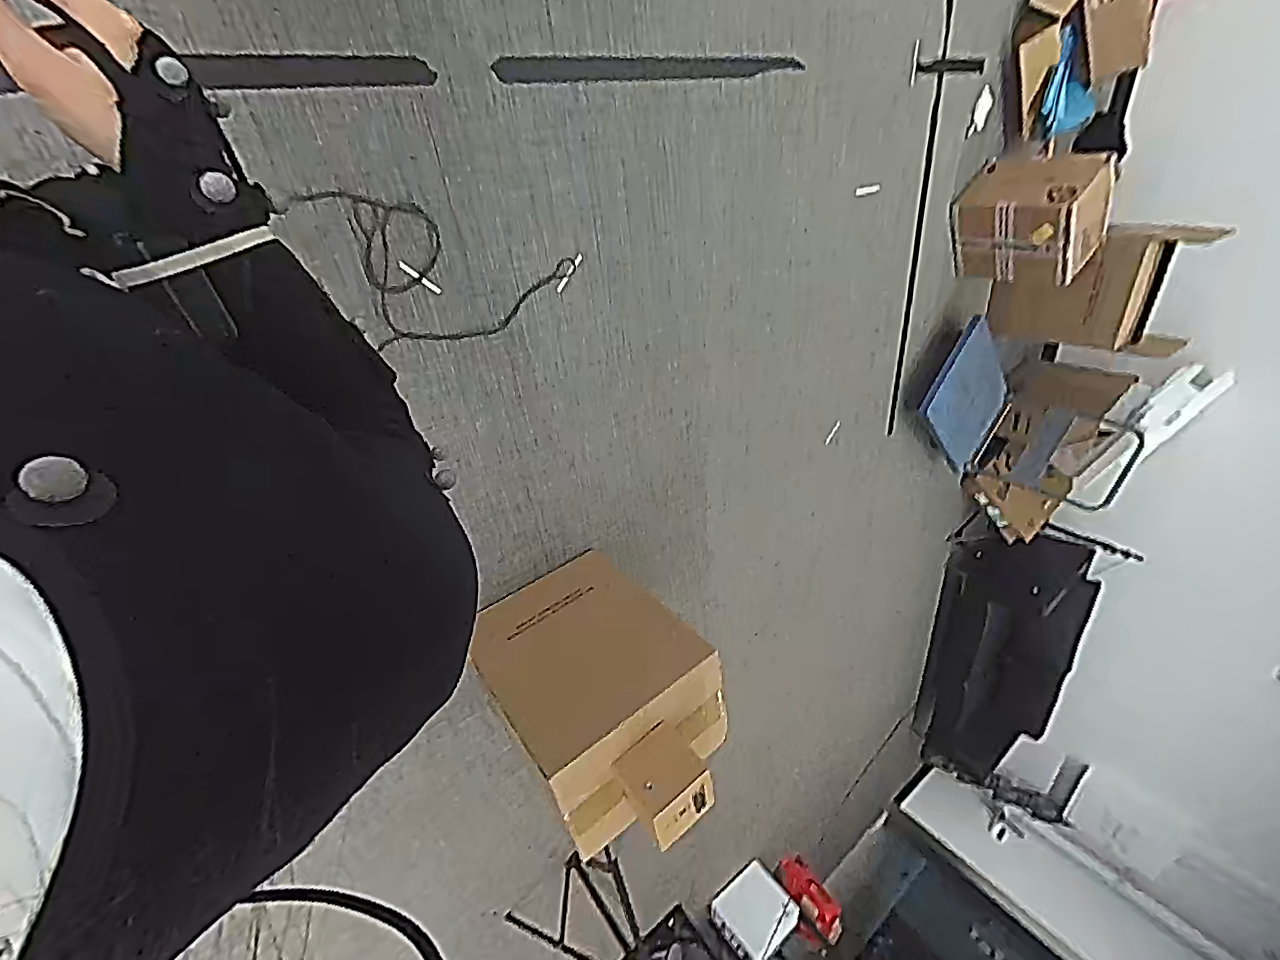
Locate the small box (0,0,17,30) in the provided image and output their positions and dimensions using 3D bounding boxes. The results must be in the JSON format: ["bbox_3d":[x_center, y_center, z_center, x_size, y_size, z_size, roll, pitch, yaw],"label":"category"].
[{"bbox_3d":[-0.394,-0.303,0.207,0.168,0.176,0.179,-22,132,-42],"label":"small box"}]
